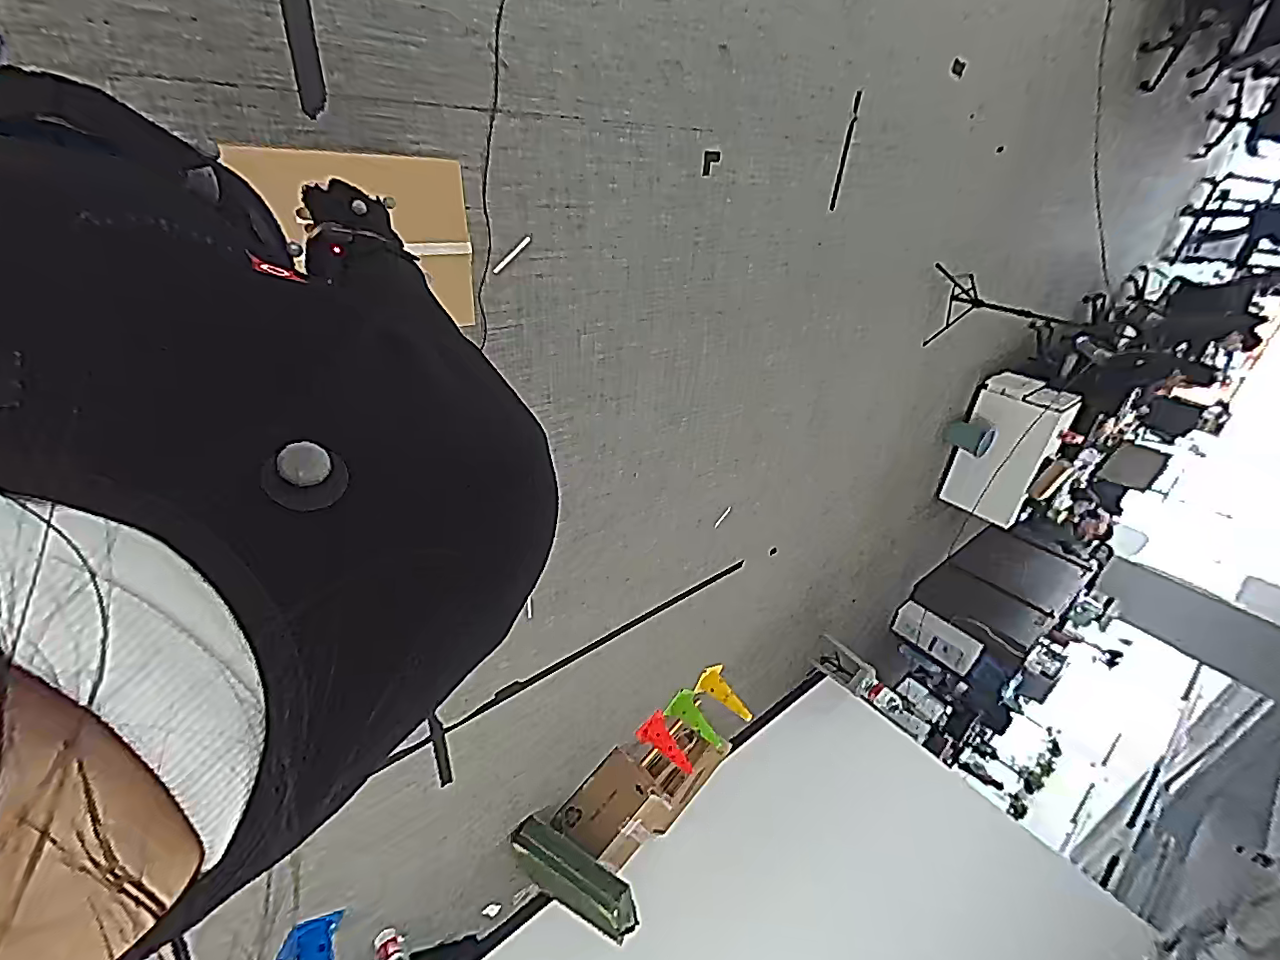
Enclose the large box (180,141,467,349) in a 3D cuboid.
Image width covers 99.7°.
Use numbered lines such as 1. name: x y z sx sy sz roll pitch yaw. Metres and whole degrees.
1. large box: -0.609 -0.480 1.076 0.408 0.320 0.320 -18 126 -33
